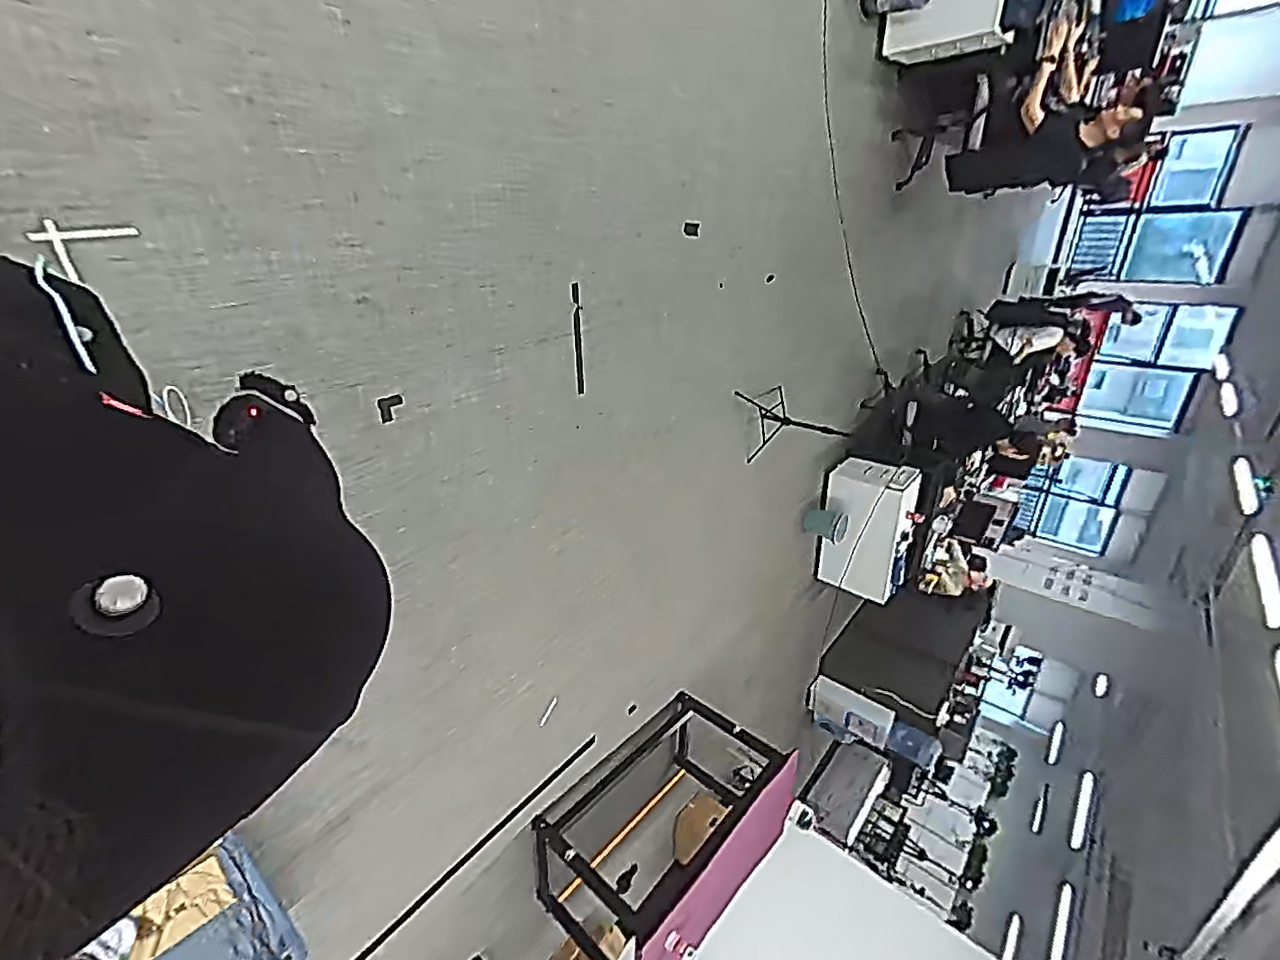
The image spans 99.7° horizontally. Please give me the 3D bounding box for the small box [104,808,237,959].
[{"bbox_3d":[-1.022,0.873,1.175,0.179,0.176,0.168,-23,123,-44],"label":"small box"}]
